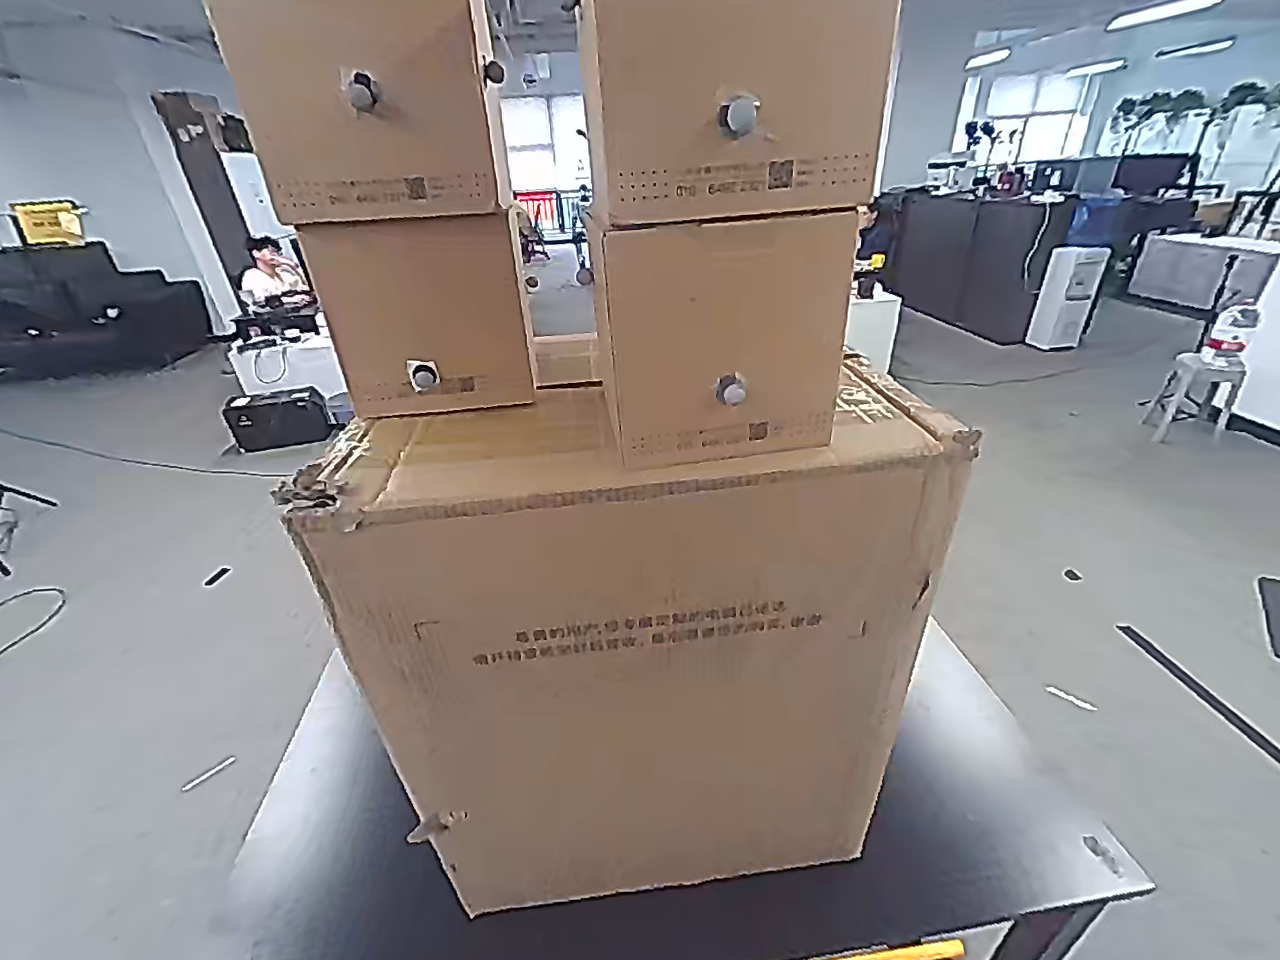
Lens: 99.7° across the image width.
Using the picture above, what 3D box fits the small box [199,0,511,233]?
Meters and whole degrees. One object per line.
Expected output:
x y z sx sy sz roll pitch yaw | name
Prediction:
-0.205 -0.304 0.448 0.168 0.176 0.179 -7 30 -7 | small box

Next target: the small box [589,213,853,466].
0.050 -0.128 0.448 0.168 0.176 0.179 -8 31 -5 | small box

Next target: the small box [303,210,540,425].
-0.196 -0.169 0.543 0.168 0.176 0.179 -8 31 -8 | small box

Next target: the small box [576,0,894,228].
0.045 -0.268 0.361 0.168 0.176 0.179 -7 31 -4 | small box
